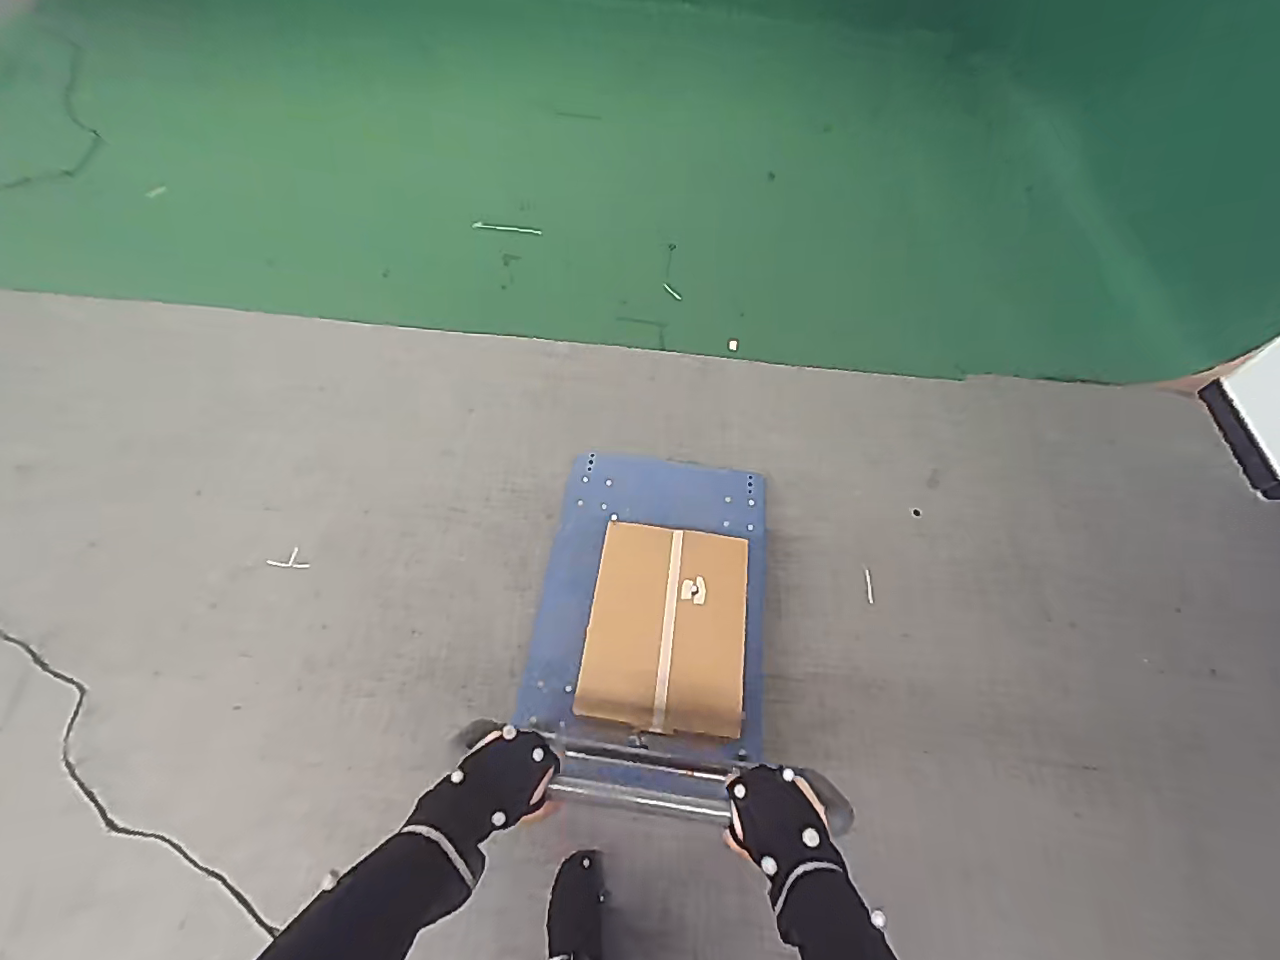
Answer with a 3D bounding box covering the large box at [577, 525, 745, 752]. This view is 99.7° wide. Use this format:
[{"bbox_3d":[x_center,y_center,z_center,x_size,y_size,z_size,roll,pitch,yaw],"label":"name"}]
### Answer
[{"bbox_3d":[0.051,0.365,1.221,0.320,0.320,0.408,8,58,1],"label":"large box"}]
